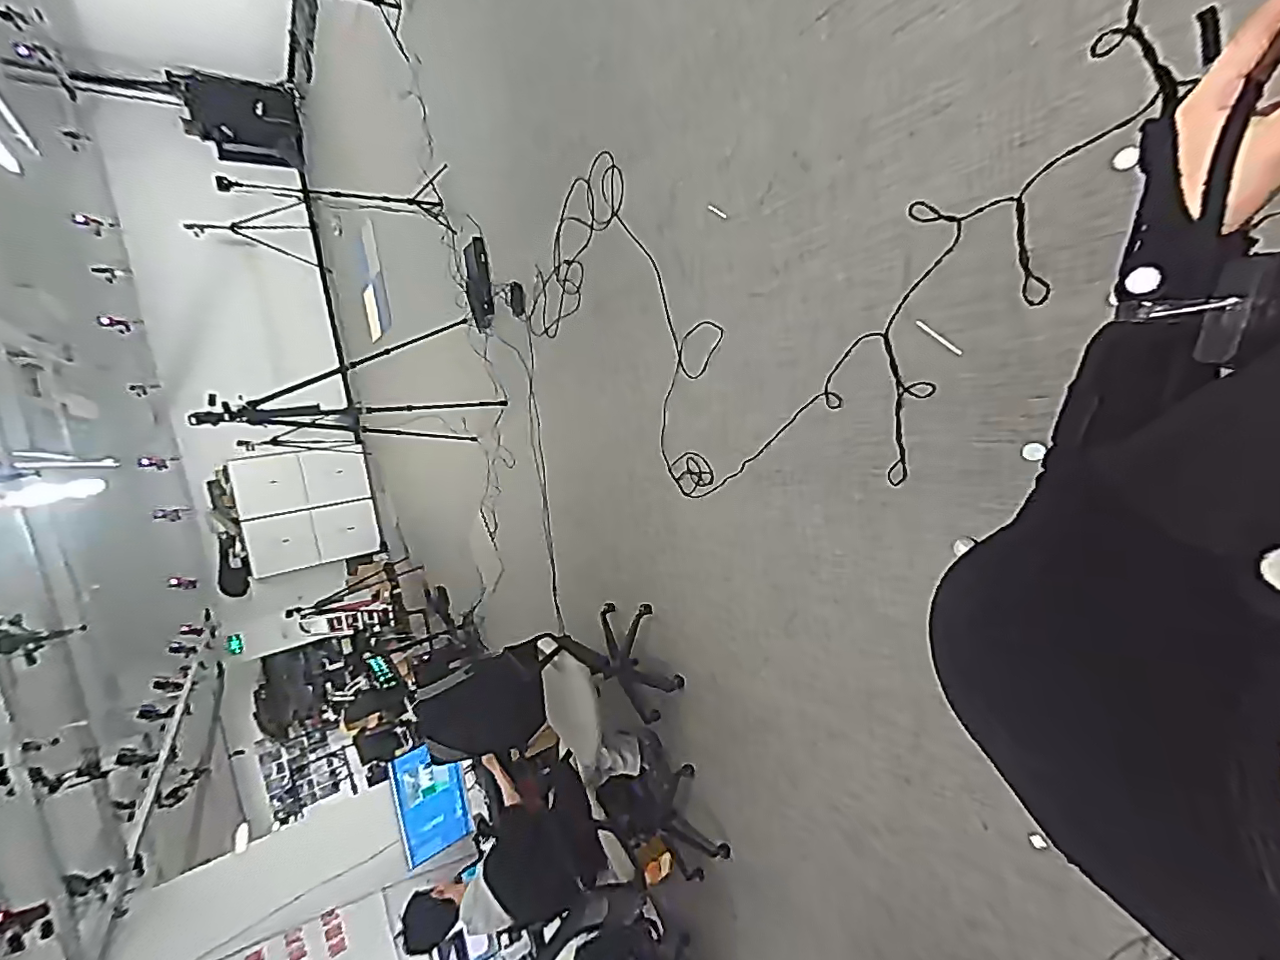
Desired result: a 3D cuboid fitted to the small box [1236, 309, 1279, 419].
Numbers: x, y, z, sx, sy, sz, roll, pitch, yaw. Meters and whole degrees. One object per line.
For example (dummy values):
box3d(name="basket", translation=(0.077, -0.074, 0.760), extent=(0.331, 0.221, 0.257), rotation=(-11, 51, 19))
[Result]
box3d(name="small box", translation=(1.073, -0.173, 0.826), extent=(0.179, 0.176, 0.168), rotation=(29, 120, 60))
